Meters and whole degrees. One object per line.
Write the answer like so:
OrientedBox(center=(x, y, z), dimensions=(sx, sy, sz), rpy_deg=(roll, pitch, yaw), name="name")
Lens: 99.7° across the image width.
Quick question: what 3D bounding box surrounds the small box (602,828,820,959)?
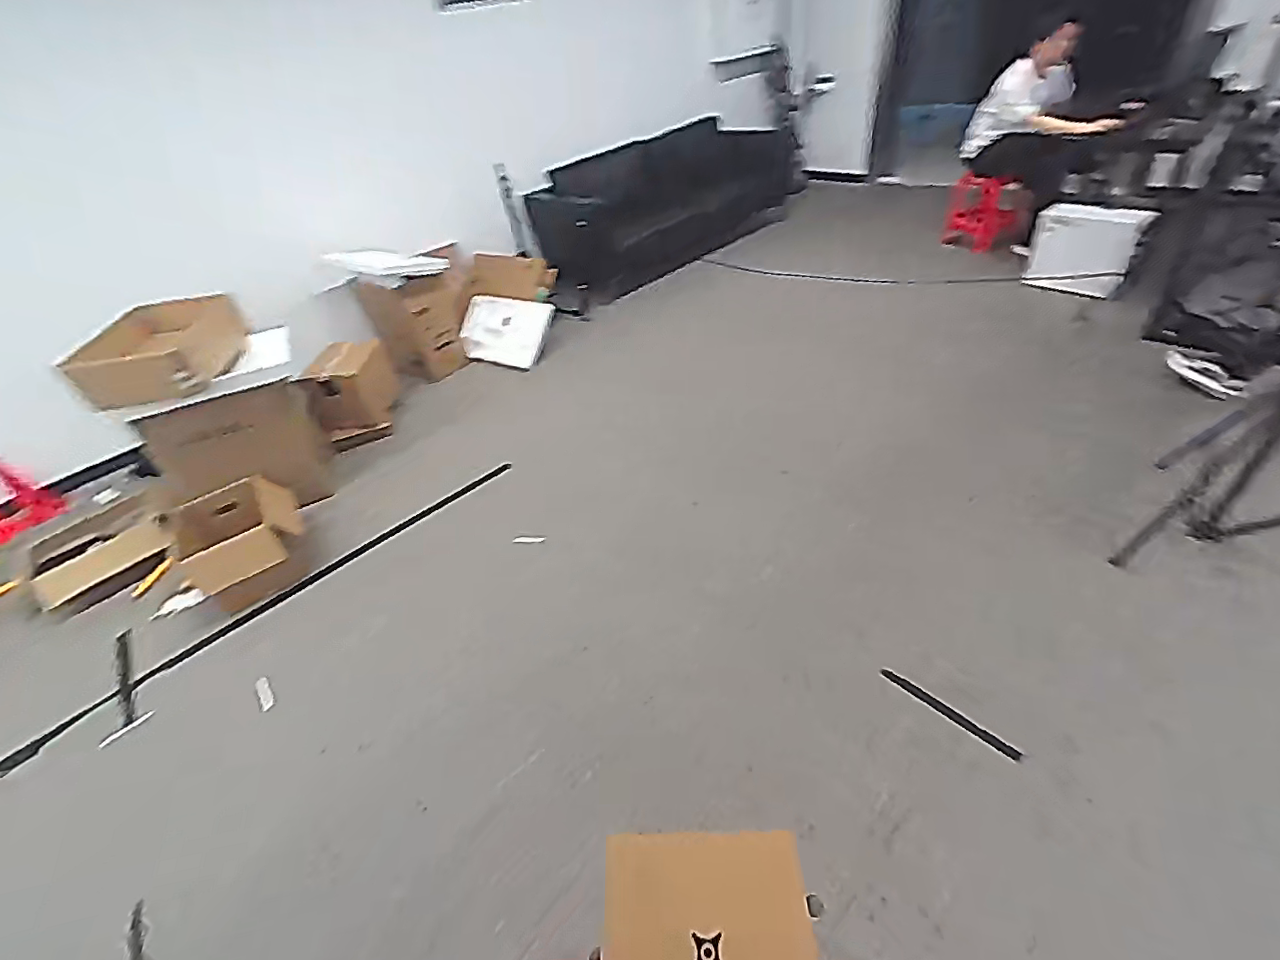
OrientedBox(center=(0.059, 0.419, 0.454), dimensions=(0.168, 0.176, 0.179), rpy_deg=(-5, 43, 3), name="small box")
